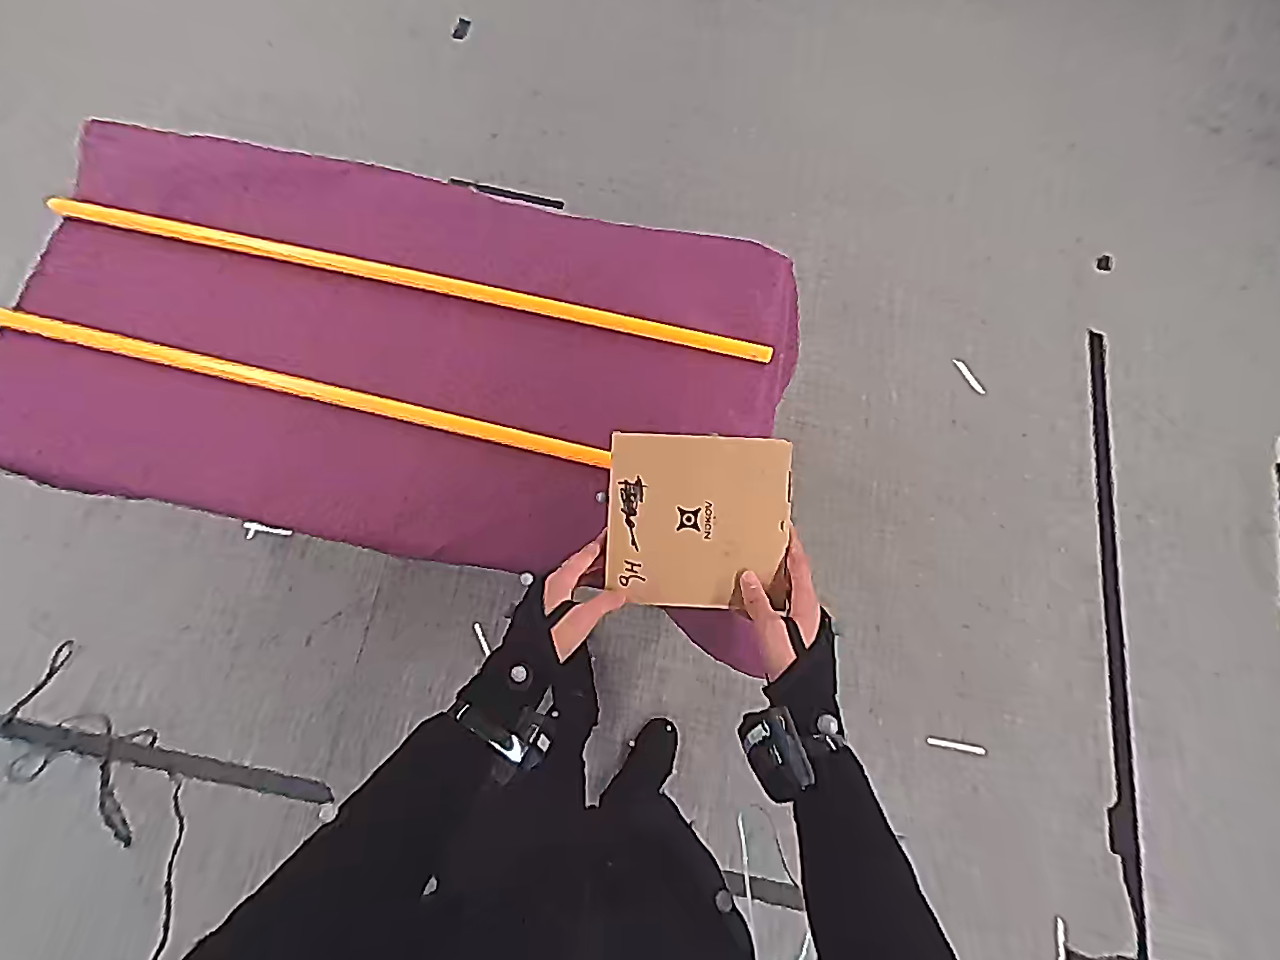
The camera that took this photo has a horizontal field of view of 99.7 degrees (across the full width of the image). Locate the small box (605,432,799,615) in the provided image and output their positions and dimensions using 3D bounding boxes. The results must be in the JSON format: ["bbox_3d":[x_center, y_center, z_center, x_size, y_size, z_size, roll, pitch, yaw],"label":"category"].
[{"bbox_3d":[0.062,0.043,0.593,0.179,0.176,0.168,4,87,3],"label":"small box"}]
